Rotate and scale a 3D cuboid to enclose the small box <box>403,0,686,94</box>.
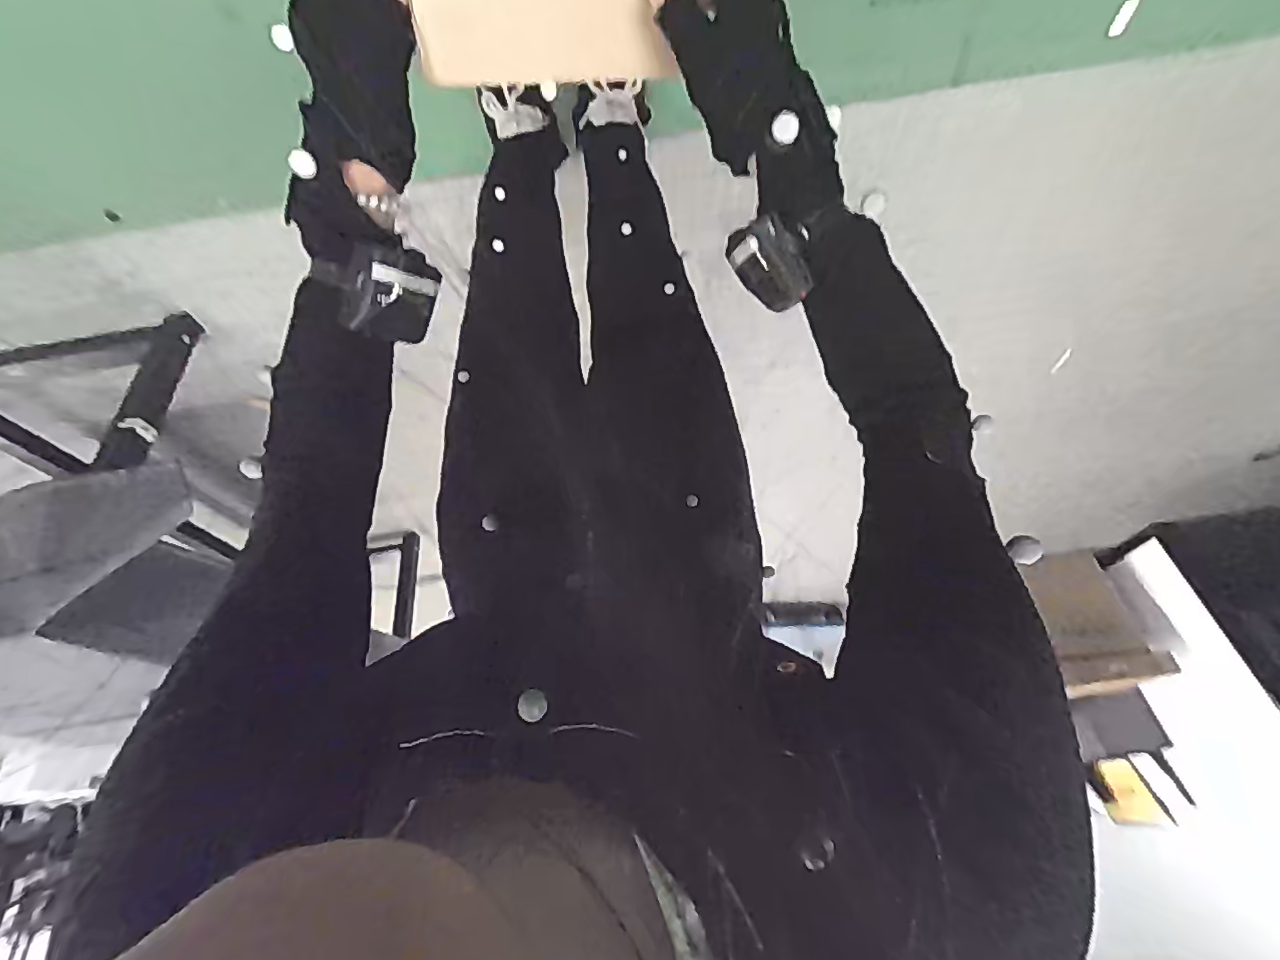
[{"bbox_3d":[-0.070,-0.374,0.366,0.179,0.176,0.168,-8,135,-8],"label":"small box"}]
